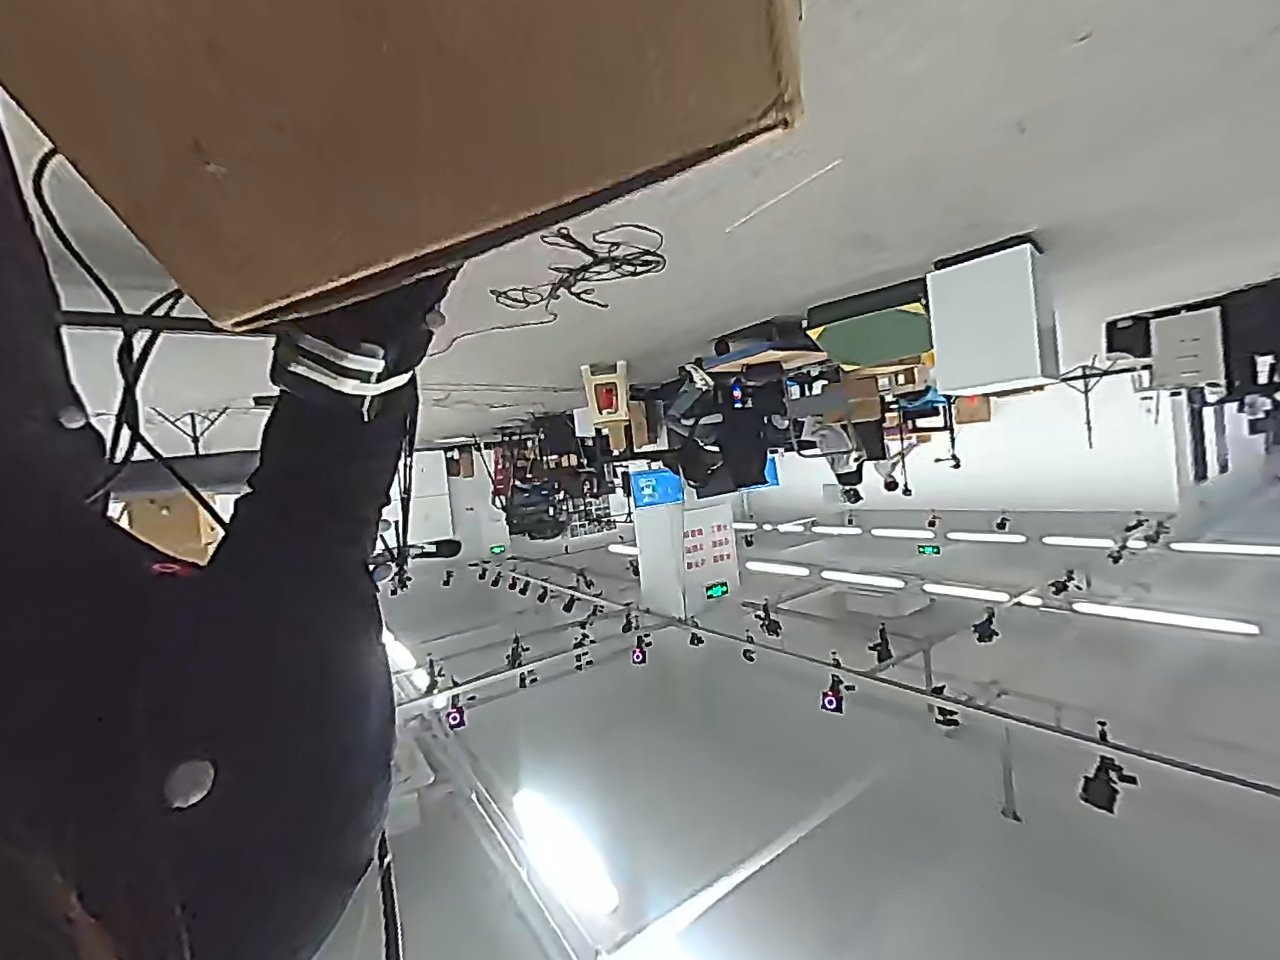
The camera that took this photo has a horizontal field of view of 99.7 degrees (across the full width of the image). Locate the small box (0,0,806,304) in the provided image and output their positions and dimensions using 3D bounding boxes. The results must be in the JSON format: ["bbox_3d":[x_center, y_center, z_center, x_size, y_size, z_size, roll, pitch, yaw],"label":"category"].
[{"bbox_3d":[-0.058,-0.175,0.143,0.179,0.176,0.168,-7,-140,21],"label":"small box"}]

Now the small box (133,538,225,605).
[{"bbox_3d":[-1.391,0.266,1.637,0.179,0.176,0.168,-6,-179,-29],"label":"small box"}]

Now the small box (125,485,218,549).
[{"bbox_3d":[-1.397,0.104,1.620,0.168,0.176,0.179,-7,-178,-25],"label":"small box"}]
